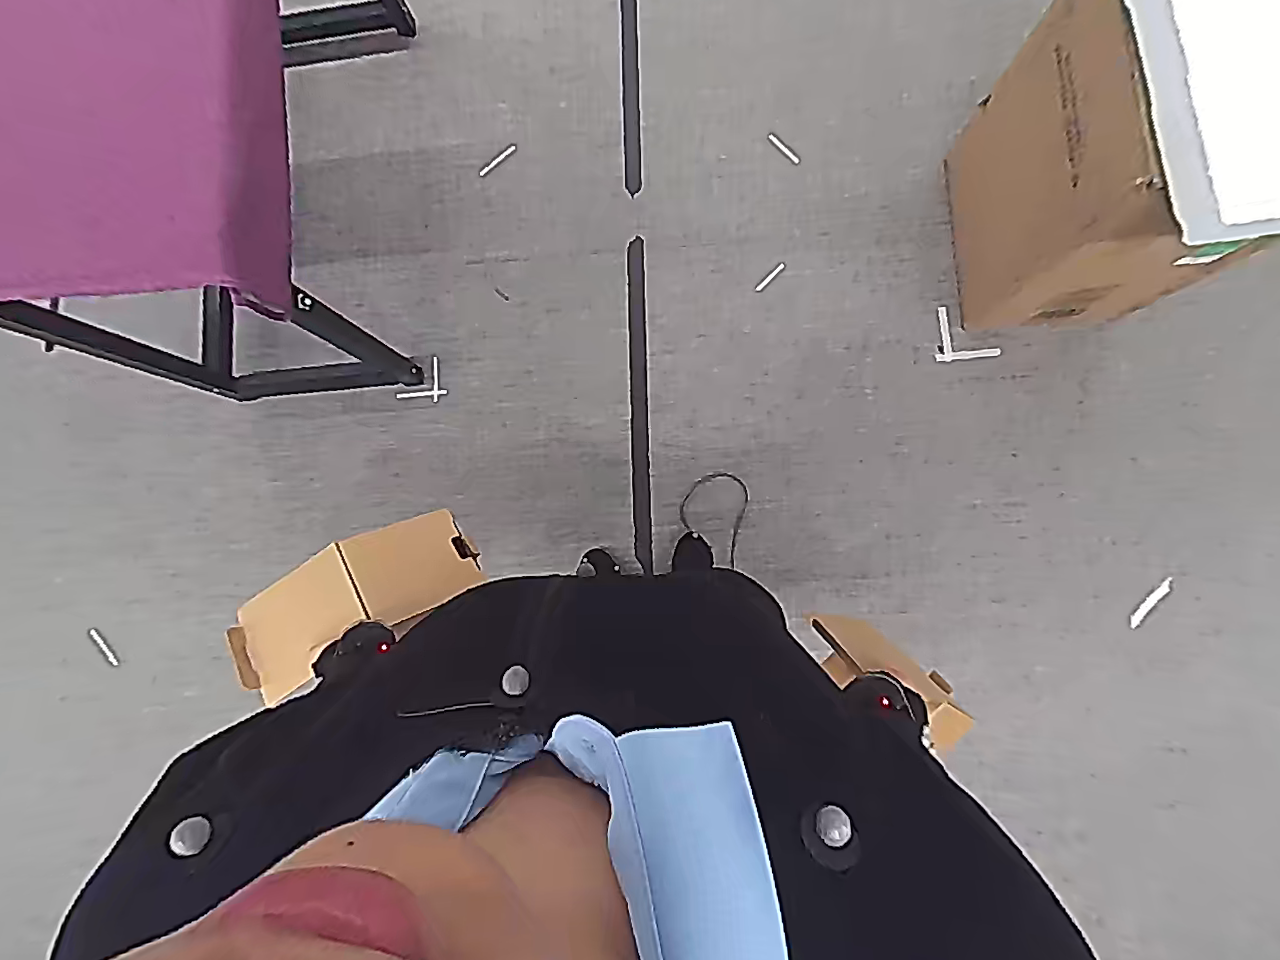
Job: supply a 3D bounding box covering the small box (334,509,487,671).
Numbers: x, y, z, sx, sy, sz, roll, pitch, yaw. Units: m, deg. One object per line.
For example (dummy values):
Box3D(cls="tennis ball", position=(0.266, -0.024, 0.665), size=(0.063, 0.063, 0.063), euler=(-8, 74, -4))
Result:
Box3D(cls="small box", position=(-0.371, 0.180, 0.879), size=(0.179, 0.176, 0.168), euler=(-19, 63, -35))
